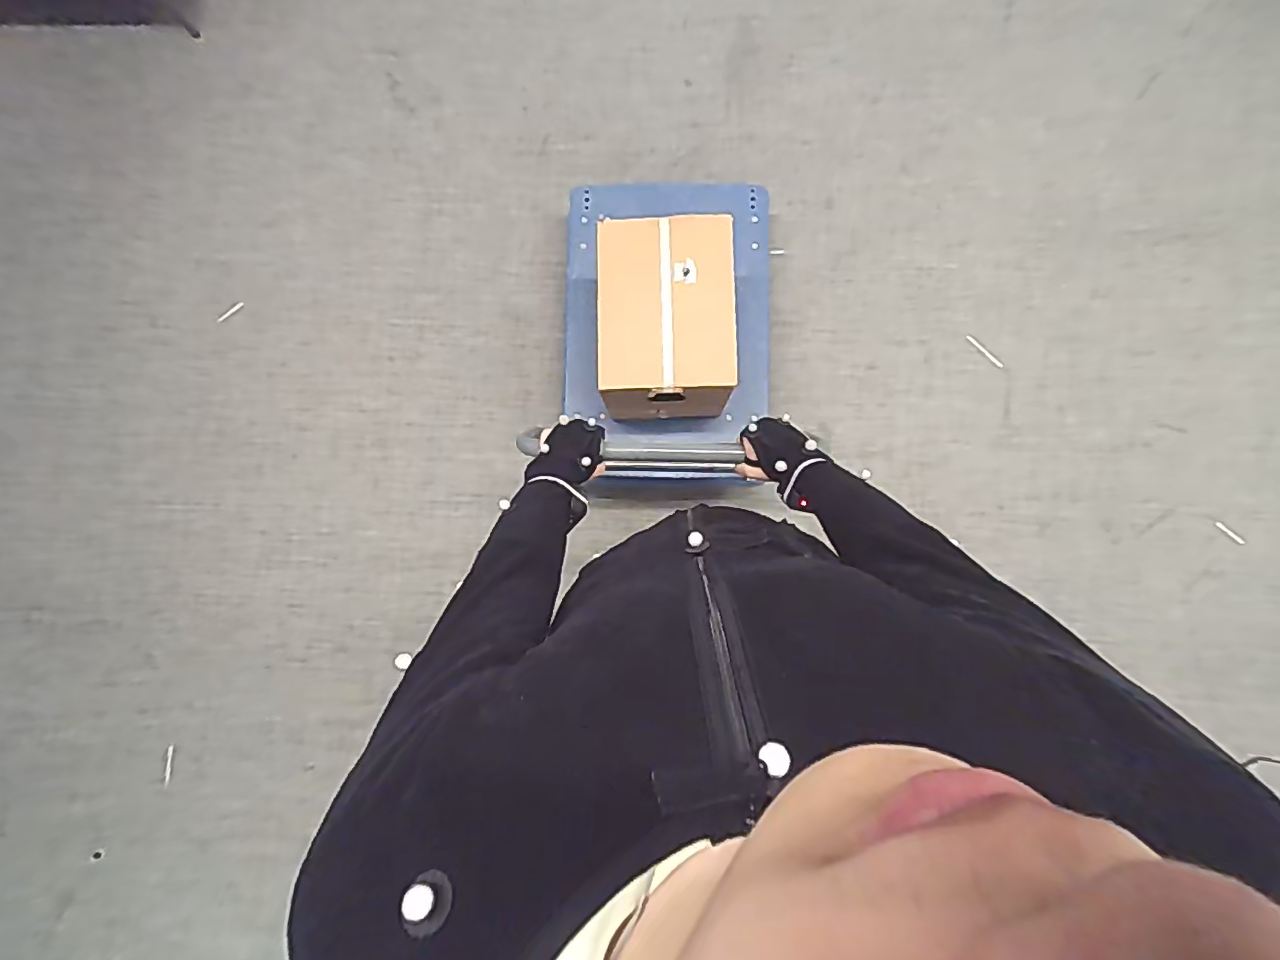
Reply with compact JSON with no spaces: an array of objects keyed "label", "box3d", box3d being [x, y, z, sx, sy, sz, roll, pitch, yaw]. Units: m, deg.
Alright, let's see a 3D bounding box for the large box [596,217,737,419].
[{"label":"large box","box3d":[0.065,-0.389,1.382,0.320,0.320,0.408,-1,84,2]}]
